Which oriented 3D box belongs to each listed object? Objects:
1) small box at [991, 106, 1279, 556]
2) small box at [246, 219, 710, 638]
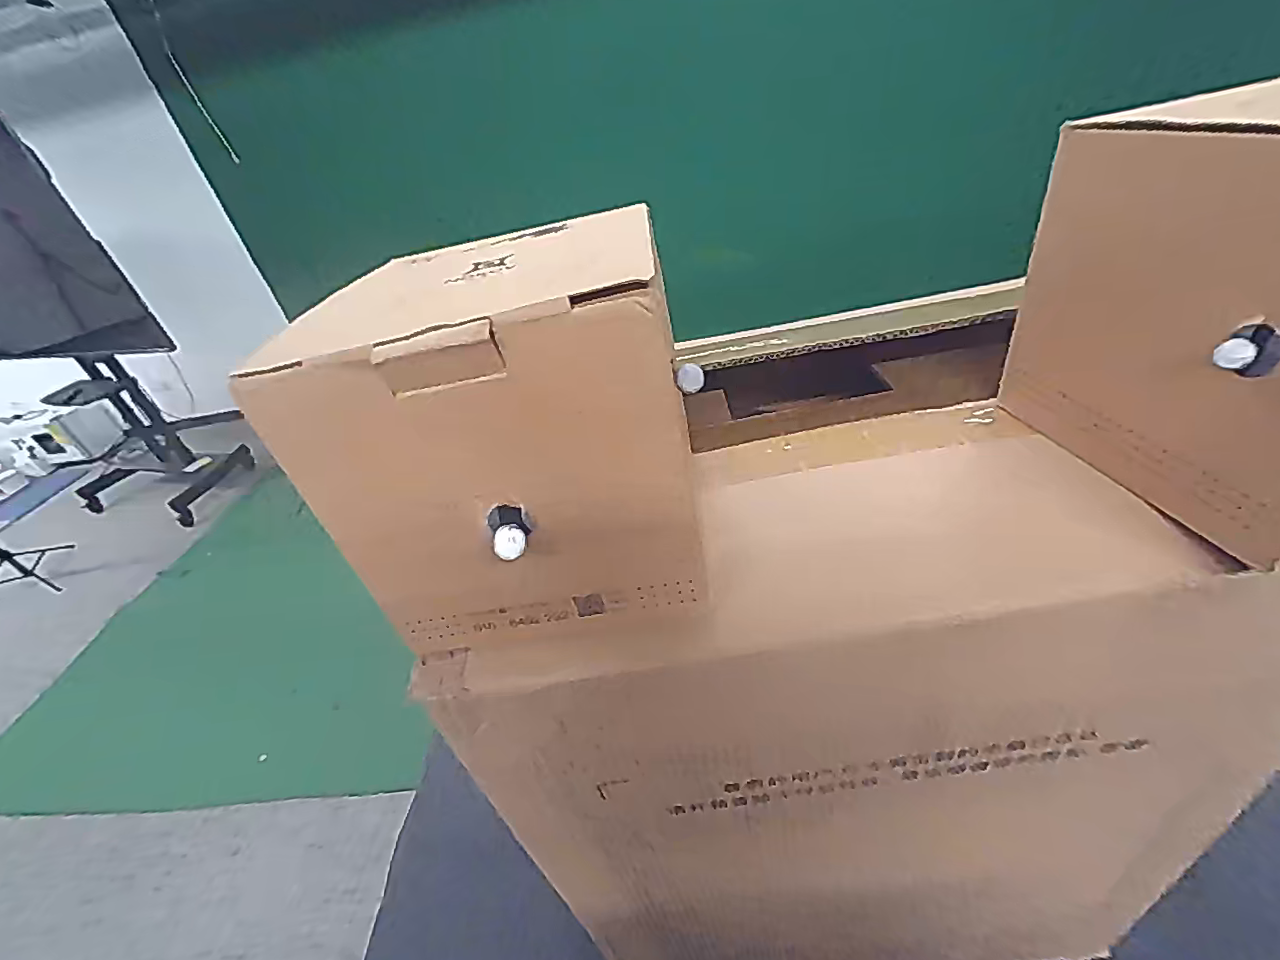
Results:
[{"bbox_3d":[0.322,-0.079,0.270,0.168,0.176,0.179,-12,34,-4],"label":"small box"},{"bbox_3d":[-0.057,-0.027,0.310,0.168,0.176,0.179,-9,35,5],"label":"small box"}]
